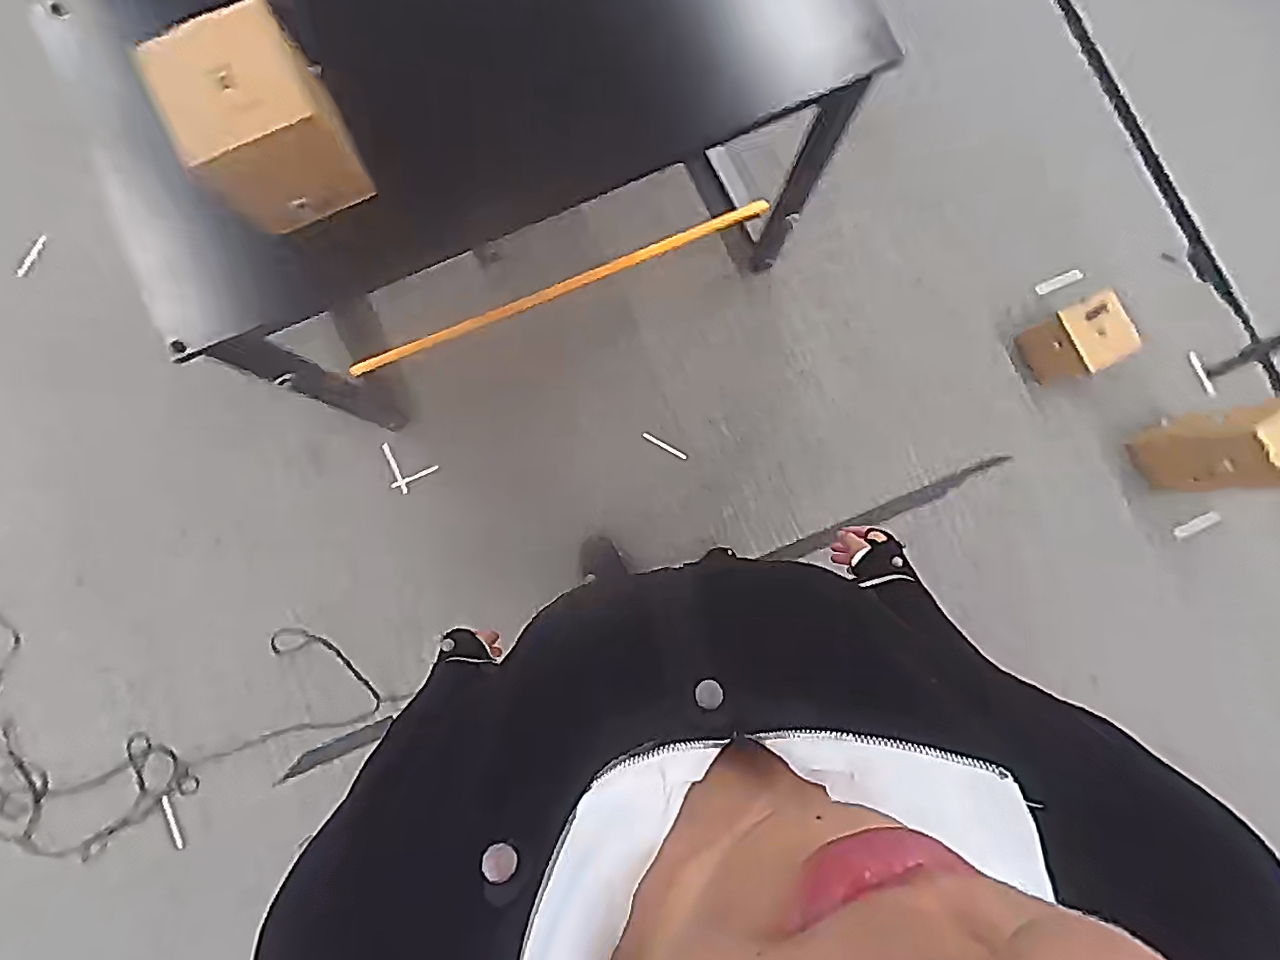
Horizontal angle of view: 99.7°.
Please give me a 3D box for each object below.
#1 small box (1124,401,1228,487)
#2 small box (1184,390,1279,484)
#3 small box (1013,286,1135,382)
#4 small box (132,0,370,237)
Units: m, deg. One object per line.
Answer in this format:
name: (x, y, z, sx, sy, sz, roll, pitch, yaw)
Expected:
small box: (1.512, -0.091, 1.490, 0.168, 0.176, 0.179, -30, 87, -4)
small box: (1.508, -0.101, 1.327, 0.179, 0.176, 0.168, -32, 87, -3)
small box: (1.194, -0.398, 1.504, 0.168, 0.176, 0.179, -27, 87, -3)
small box: (-0.511, -0.475, 0.736, 0.168, 0.176, 0.179, -27, 87, -3)
